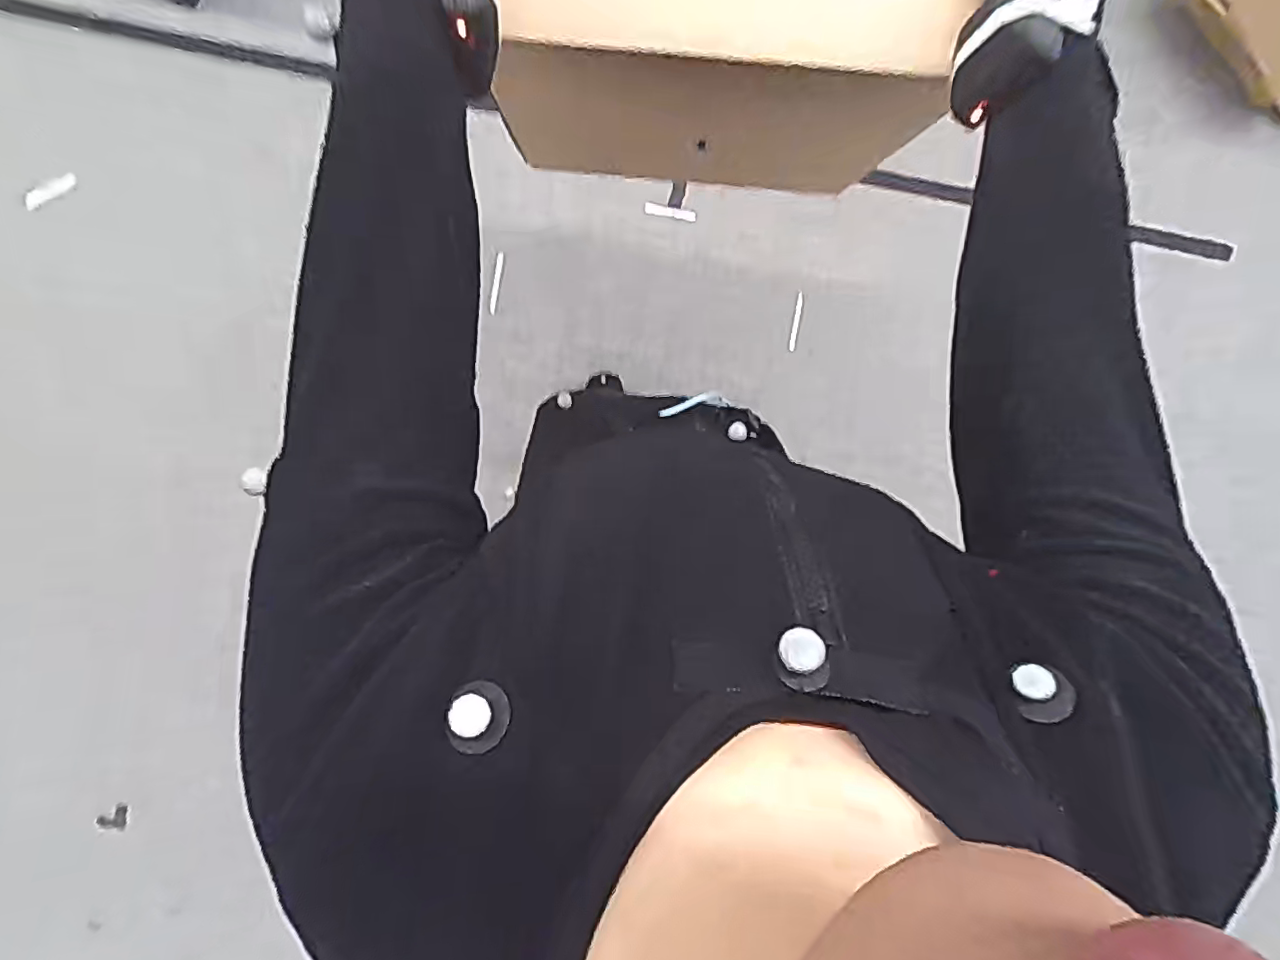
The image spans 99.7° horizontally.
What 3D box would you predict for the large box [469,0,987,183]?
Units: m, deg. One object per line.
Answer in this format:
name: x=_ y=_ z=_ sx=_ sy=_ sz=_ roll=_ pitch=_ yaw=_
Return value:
large box: x=0.075 y=-0.511 z=0.529 sx=0.408 sy=0.320 sz=0.320 roll=4 pitch=102 yaw=-2
